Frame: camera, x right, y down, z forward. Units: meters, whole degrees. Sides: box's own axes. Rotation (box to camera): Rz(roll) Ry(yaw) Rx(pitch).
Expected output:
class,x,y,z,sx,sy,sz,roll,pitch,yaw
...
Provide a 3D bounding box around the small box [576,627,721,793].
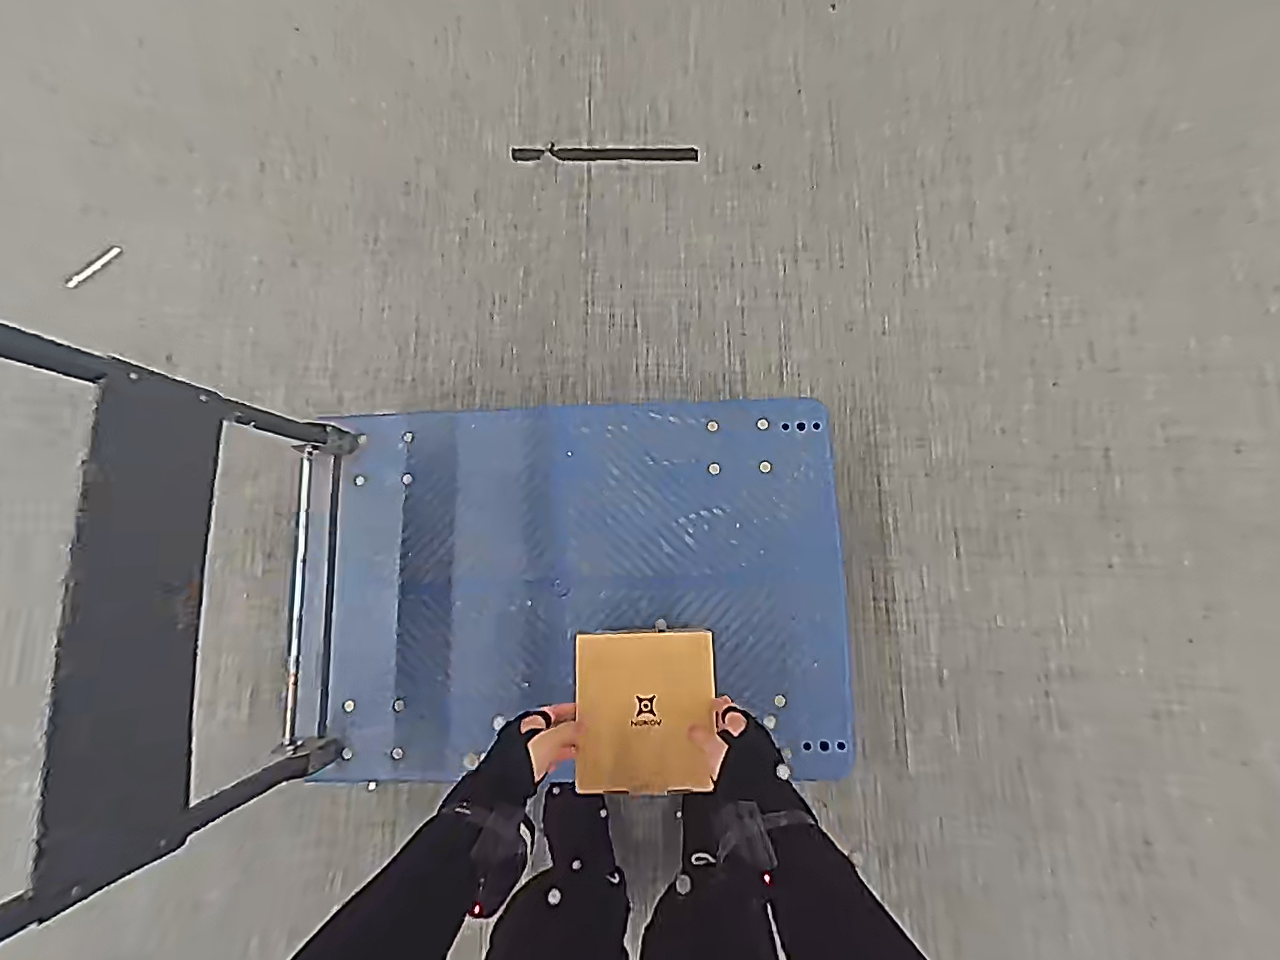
class,x,y,z,sx,sy,sz,roll,pitch,yaw
small box,0.009,0.284,0.702,0.168,0.176,0.179,-2,76,1
